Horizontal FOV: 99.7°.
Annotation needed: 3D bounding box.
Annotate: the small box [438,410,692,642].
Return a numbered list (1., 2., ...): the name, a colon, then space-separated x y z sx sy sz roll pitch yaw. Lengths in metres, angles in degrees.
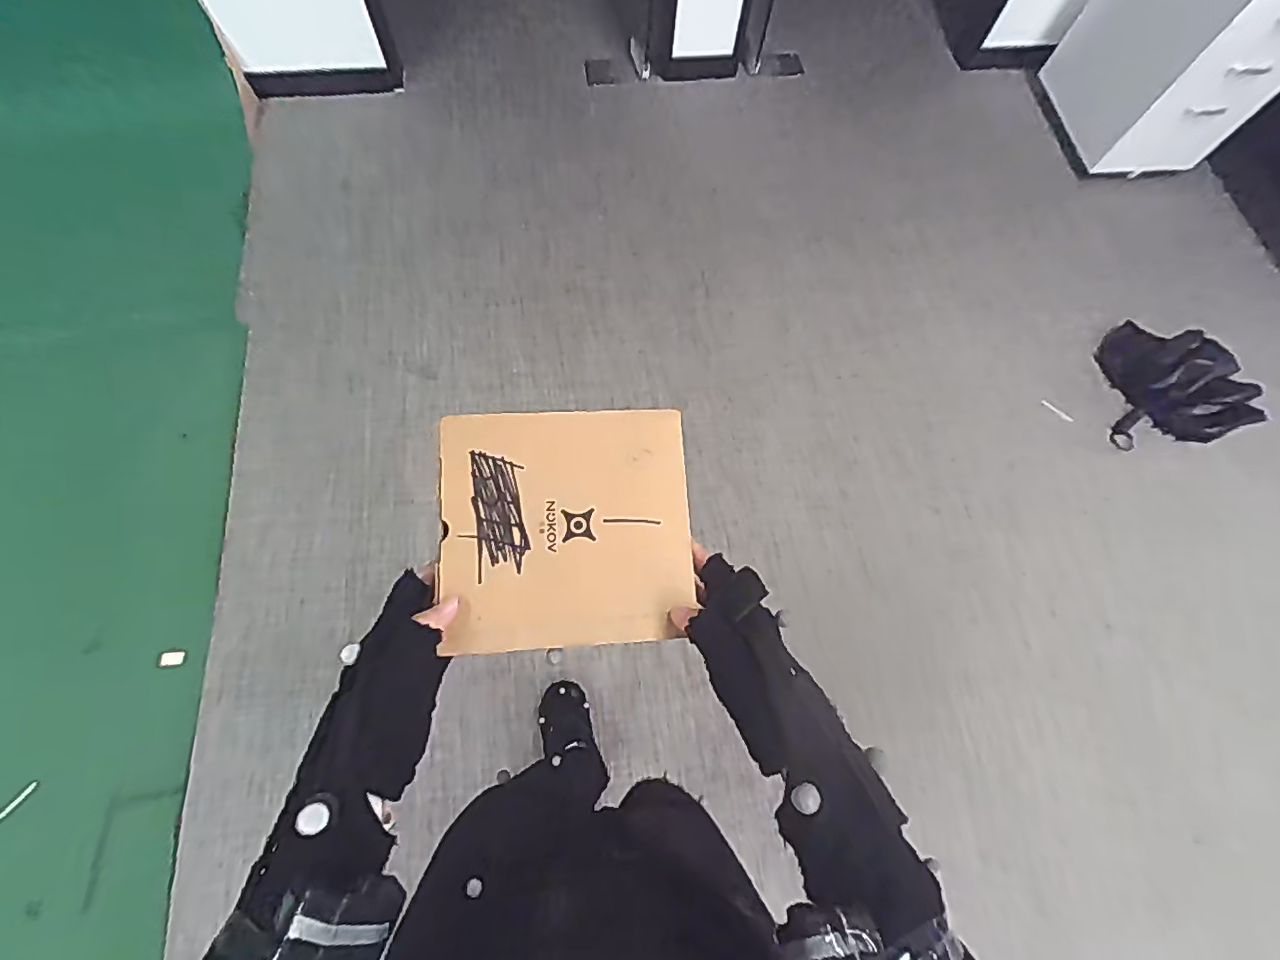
1. small box: -0.059 0.047 0.463 0.179 0.176 0.168 -2 77 -6
